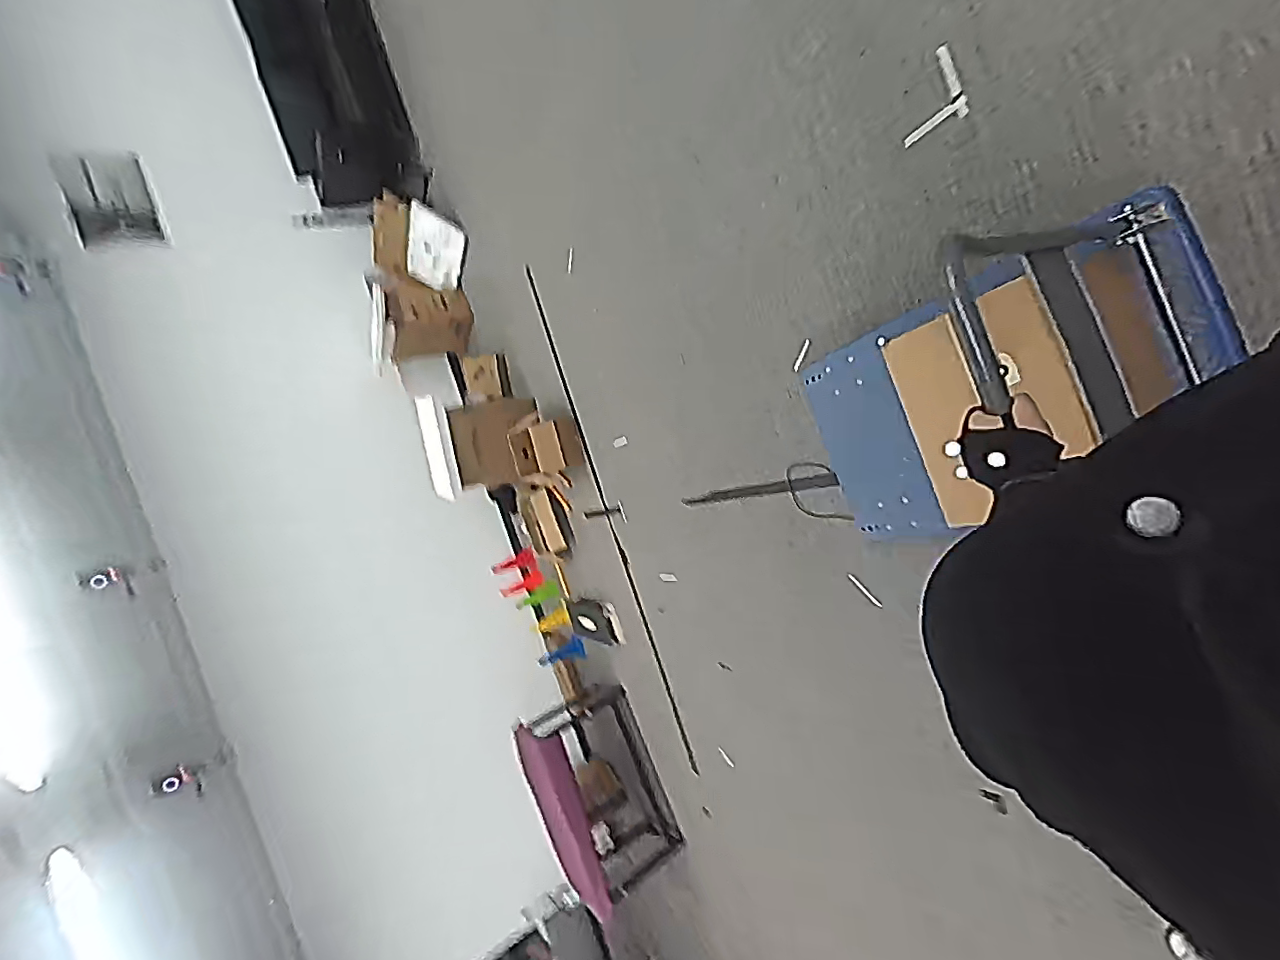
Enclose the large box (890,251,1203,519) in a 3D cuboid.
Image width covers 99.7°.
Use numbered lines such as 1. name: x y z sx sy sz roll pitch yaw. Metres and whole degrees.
1. large box: 0.771 -0.174 1.047 0.320 0.320 0.408 -22 86 59
